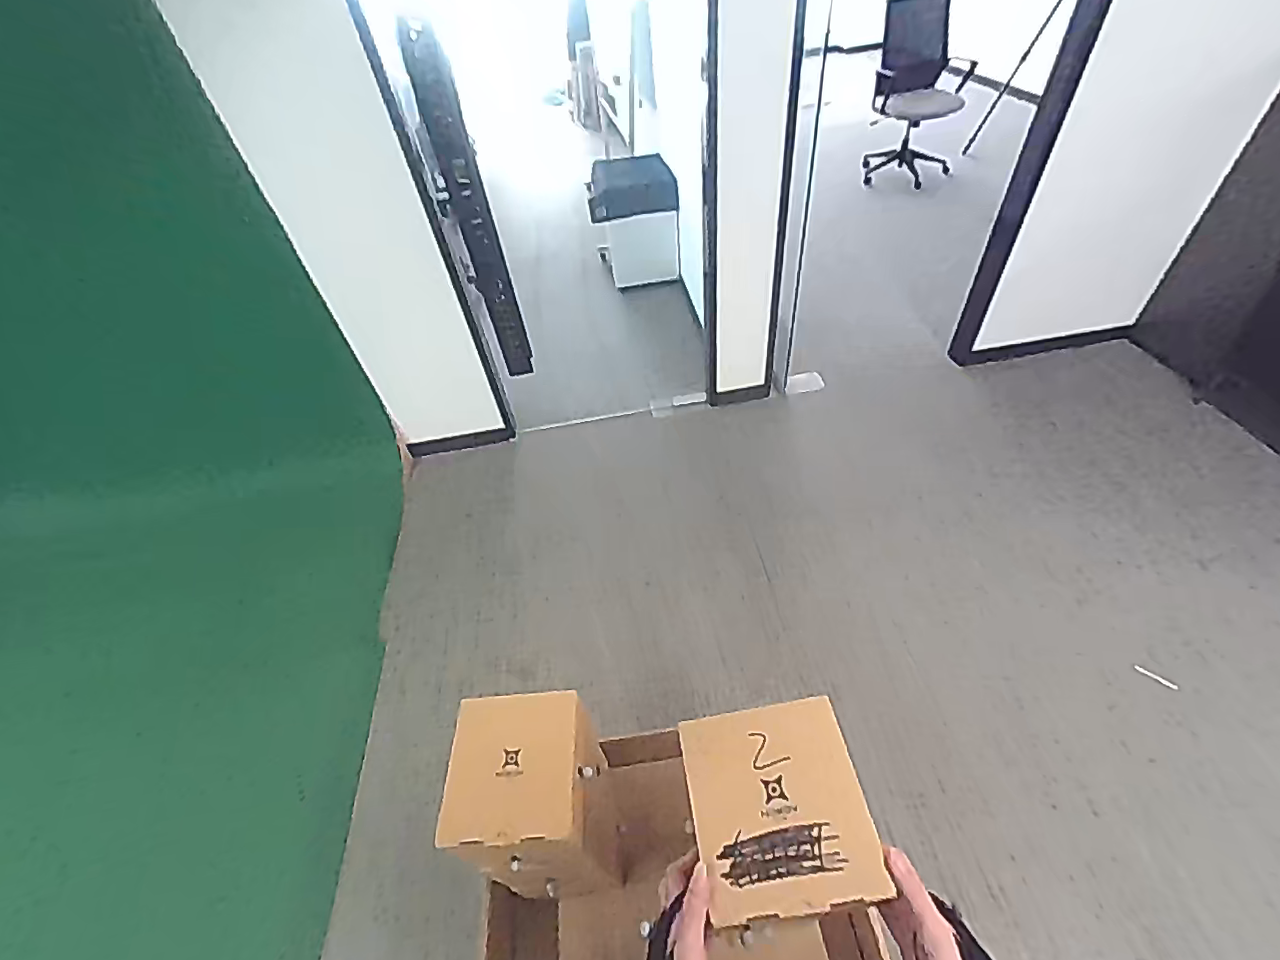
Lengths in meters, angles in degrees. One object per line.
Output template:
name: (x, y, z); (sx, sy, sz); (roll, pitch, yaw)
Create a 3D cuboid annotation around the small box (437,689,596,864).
small box: (-0.156, 0.411, 0.750); (0.168, 0.176, 0.179); (-5, 47, 3)

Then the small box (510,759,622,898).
small box: (-0.128, 0.635, 0.985); (0.168, 0.176, 0.179); (-9, 46, 1)

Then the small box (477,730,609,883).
small box: (-0.144, 0.523, 0.867); (0.168, 0.176, 0.179); (-6, 46, 3)

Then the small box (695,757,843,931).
small box: (0.177, 0.542, 0.806); (0.168, 0.176, 0.179); (-9, 46, -1)
